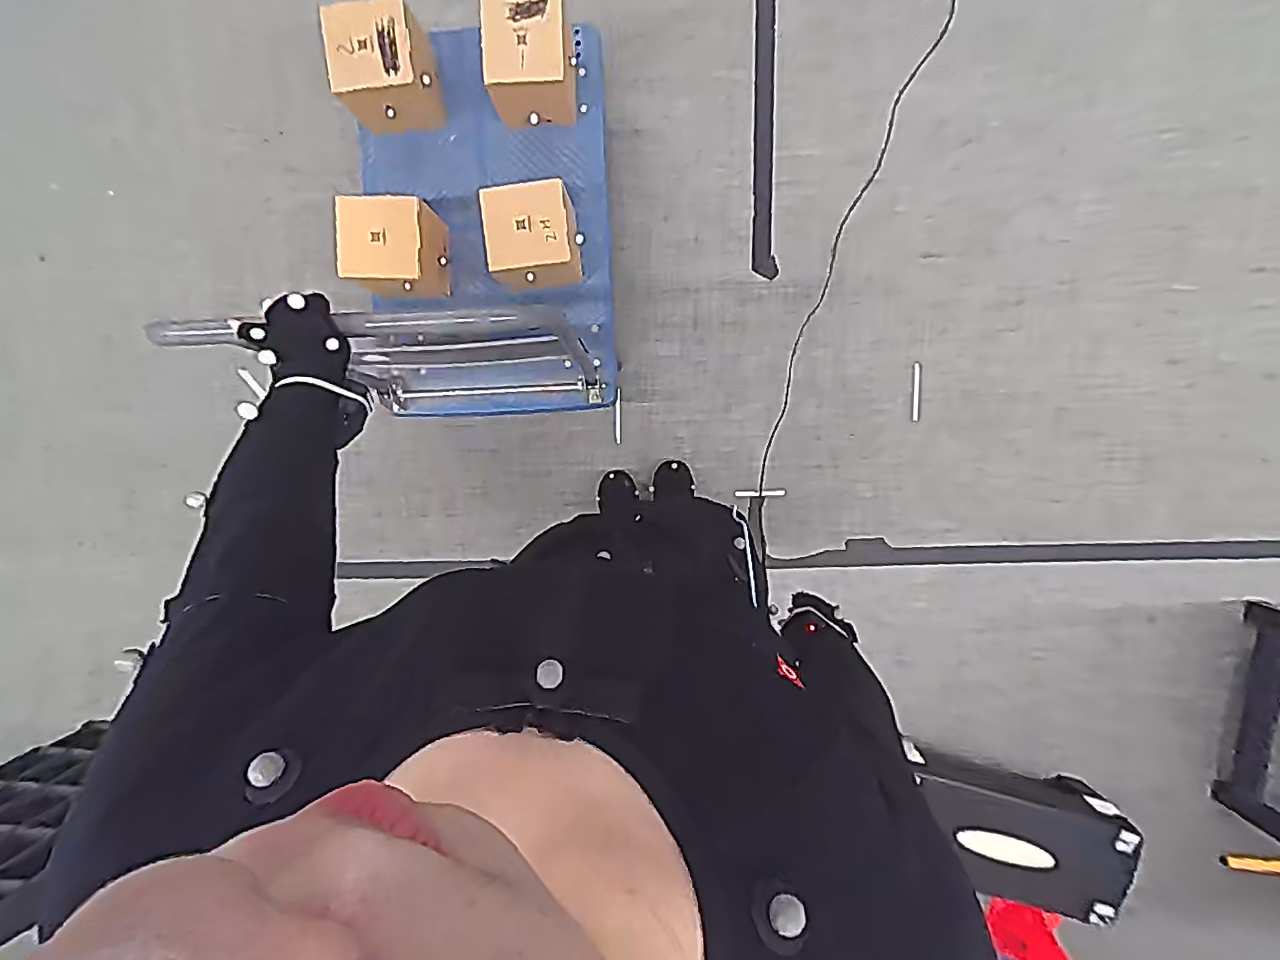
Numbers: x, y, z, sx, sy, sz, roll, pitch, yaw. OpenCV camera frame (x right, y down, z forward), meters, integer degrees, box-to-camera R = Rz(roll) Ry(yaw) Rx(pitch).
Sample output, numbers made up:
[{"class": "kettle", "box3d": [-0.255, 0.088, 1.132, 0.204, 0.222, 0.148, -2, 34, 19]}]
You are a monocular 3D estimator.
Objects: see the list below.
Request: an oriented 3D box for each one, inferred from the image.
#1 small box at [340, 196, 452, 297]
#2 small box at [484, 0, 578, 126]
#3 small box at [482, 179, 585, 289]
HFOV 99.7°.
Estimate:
[{"class": "small box", "box3d": [-0.535, -0.509, 1.201, 0.179, 0.176, 0.168, 0, 95, 0]}, {"class": "small box", "box3d": [-0.226, -0.892, 1.152, 0.168, 0.176, 0.179, -1, 97, 2]}, {"class": "small box", "box3d": [-0.227, -0.529, 1.186, 0.179, 0.176, 0.168, -6, 96, 3]}]
